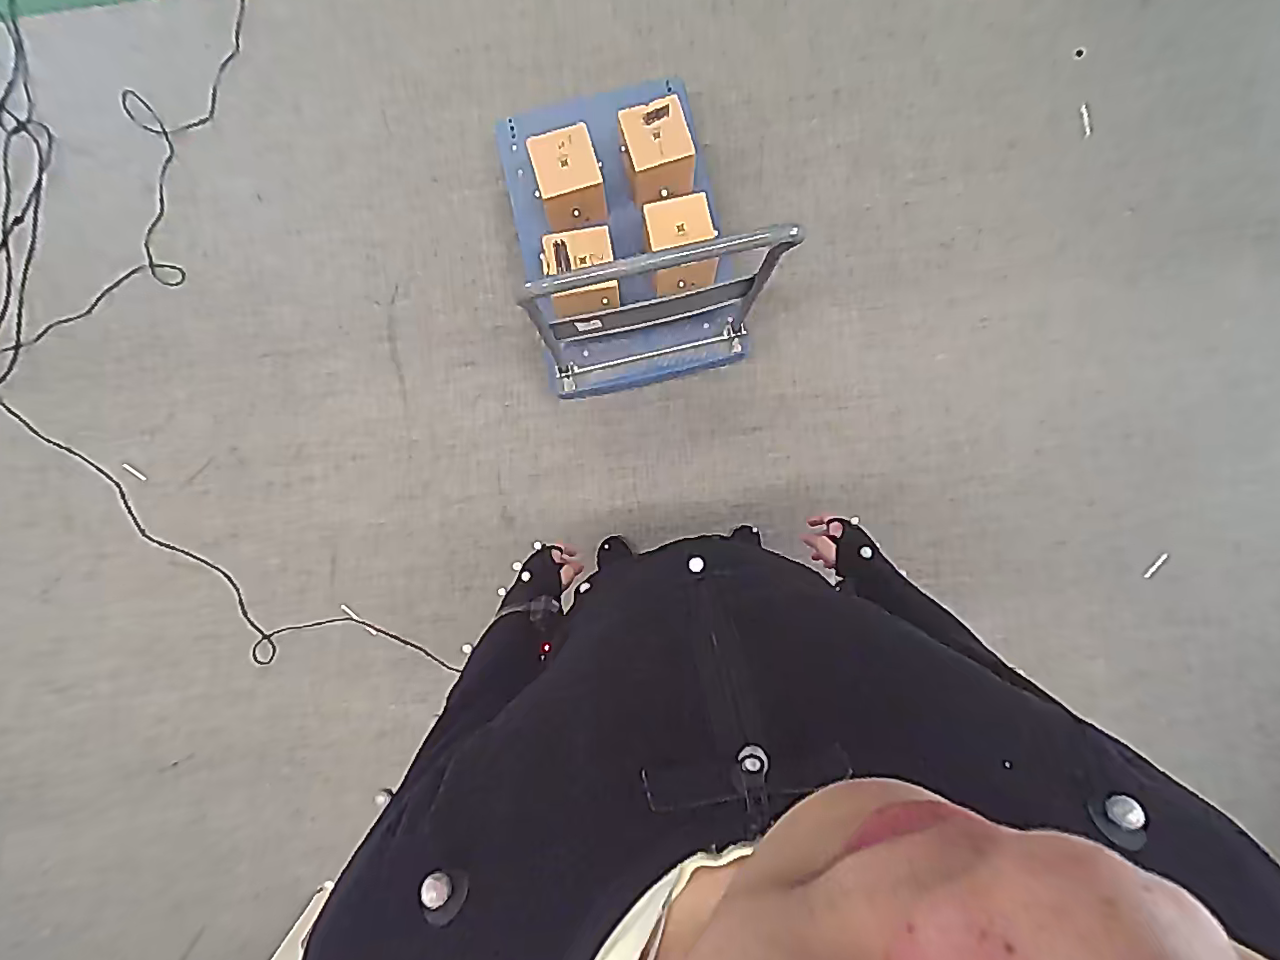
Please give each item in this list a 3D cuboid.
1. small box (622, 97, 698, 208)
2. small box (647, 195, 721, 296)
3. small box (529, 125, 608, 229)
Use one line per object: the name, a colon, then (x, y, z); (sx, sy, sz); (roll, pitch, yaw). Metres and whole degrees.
small box: (0.053, -0.890, 1.483); (0.168, 0.176, 0.179); (-16, 86, 1)
small box: (0.113, -0.628, 1.462); (0.168, 0.176, 0.179); (-12, 85, 0)
small box: (-0.189, -0.817, 1.485); (0.168, 0.176, 0.179); (-16, 85, -1)
